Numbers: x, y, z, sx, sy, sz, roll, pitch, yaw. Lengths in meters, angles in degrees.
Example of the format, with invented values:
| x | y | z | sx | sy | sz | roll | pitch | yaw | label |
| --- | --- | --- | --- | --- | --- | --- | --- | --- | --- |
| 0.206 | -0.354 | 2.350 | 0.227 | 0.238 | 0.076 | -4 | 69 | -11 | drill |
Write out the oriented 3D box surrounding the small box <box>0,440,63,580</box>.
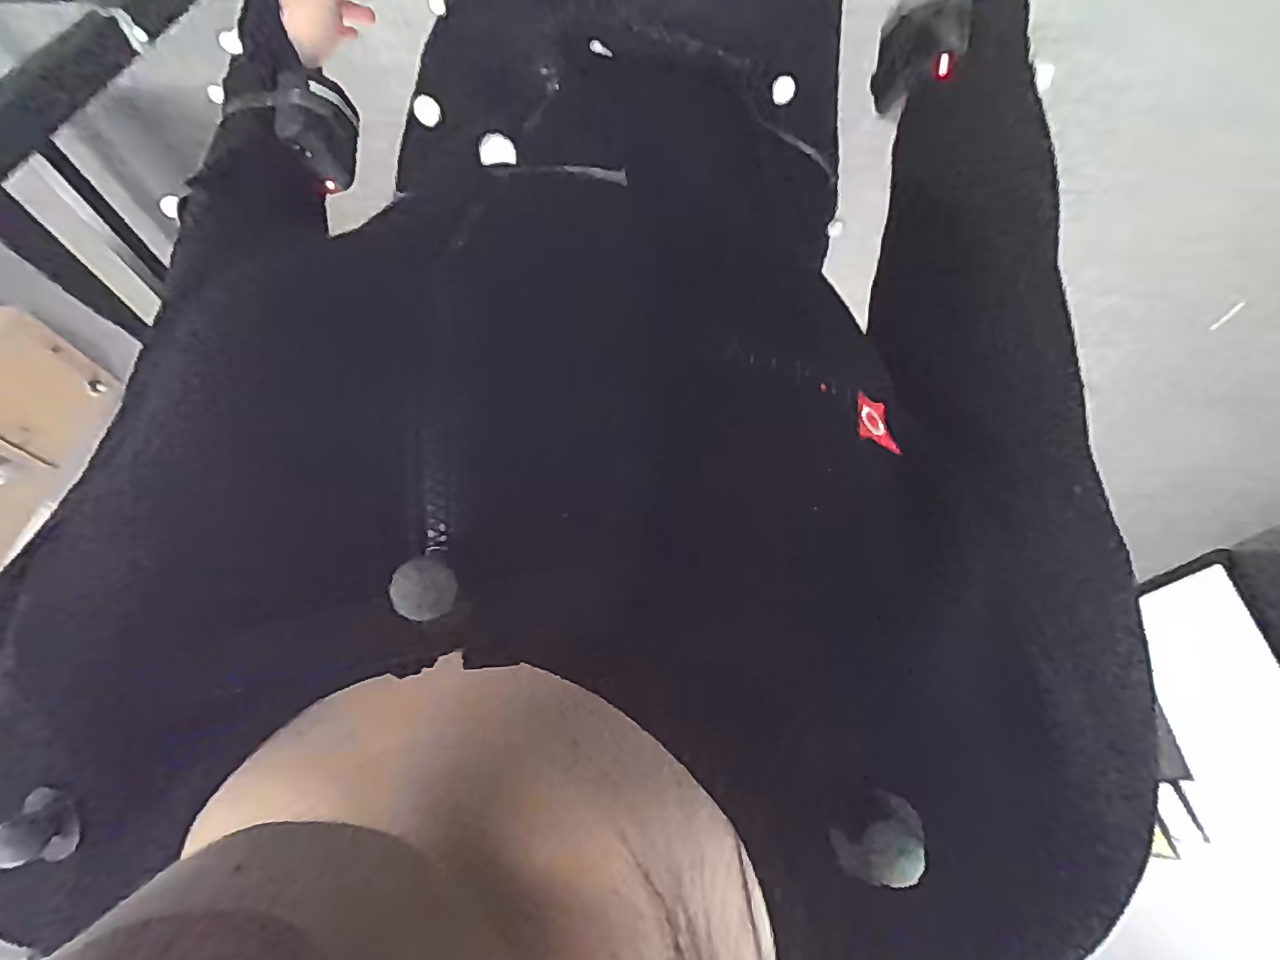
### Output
| x | y | z | sx | sy | sz | roll | pitch | yaw | label |
| --- | --- | --- | --- | --- | --- | --- | --- | --- | --- |
| -0.908 | 0.024 | 0.674 | 0.179 | 0.176 | 0.168 | 0 | 151 | 5 | small box |

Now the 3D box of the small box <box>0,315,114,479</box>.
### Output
| x | y | z | sx | sy | sz | roll | pitch | yaw | label |
| --- | --- | --- | --- | --- | --- | --- | --- | --- | --- |
| -0.905 | -0.117 | 0.755 | 0.179 | 0.176 | 0.168 | 3 | 150 | 3 | small box |
